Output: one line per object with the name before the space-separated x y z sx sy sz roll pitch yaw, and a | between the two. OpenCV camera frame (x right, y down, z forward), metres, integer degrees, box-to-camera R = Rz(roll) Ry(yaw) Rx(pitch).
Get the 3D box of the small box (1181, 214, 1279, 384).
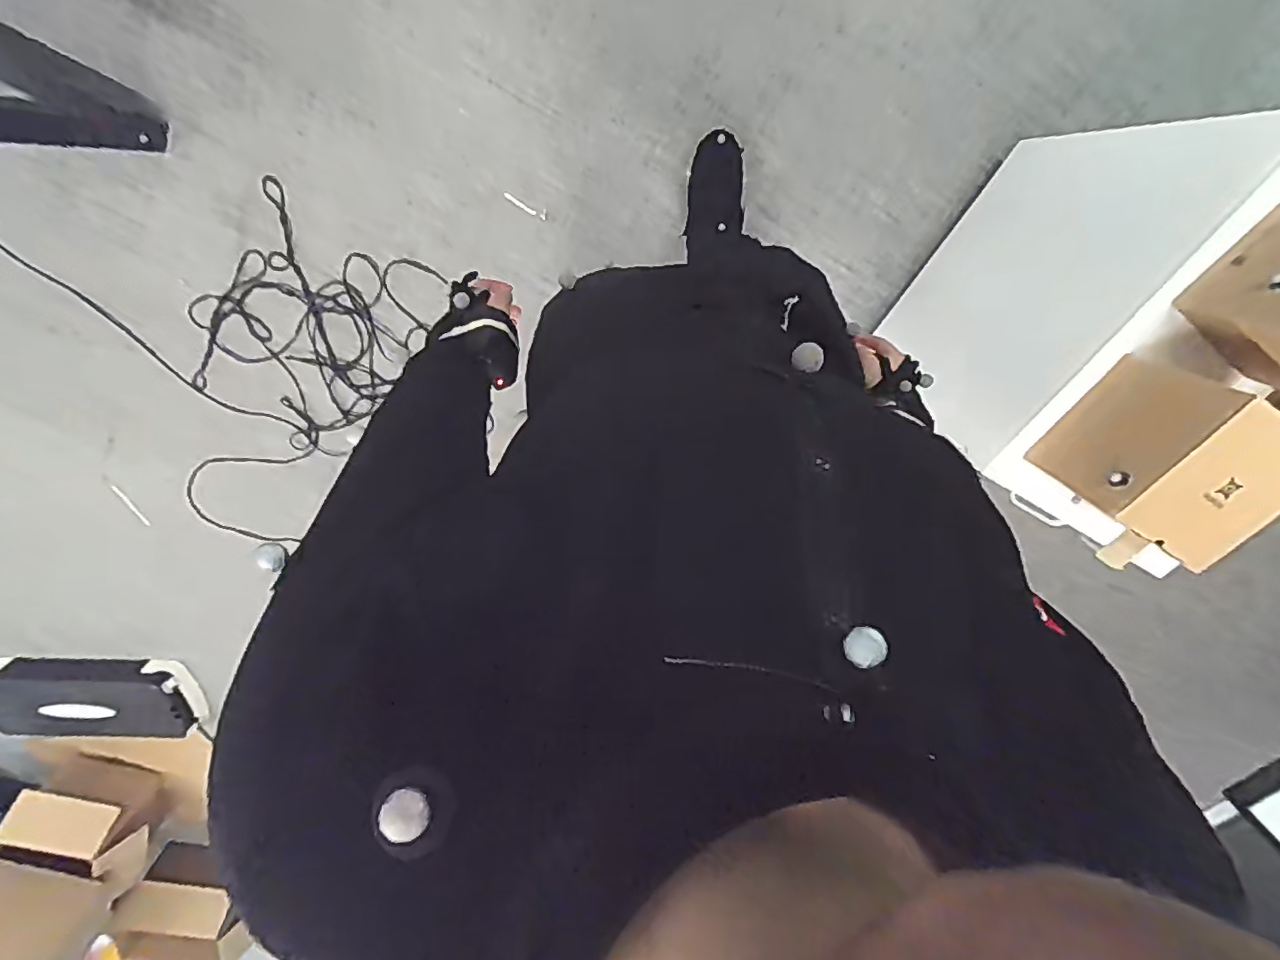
small box | 0.761 -0.193 0.578 0.179 0.176 0.168 29 116 -16
